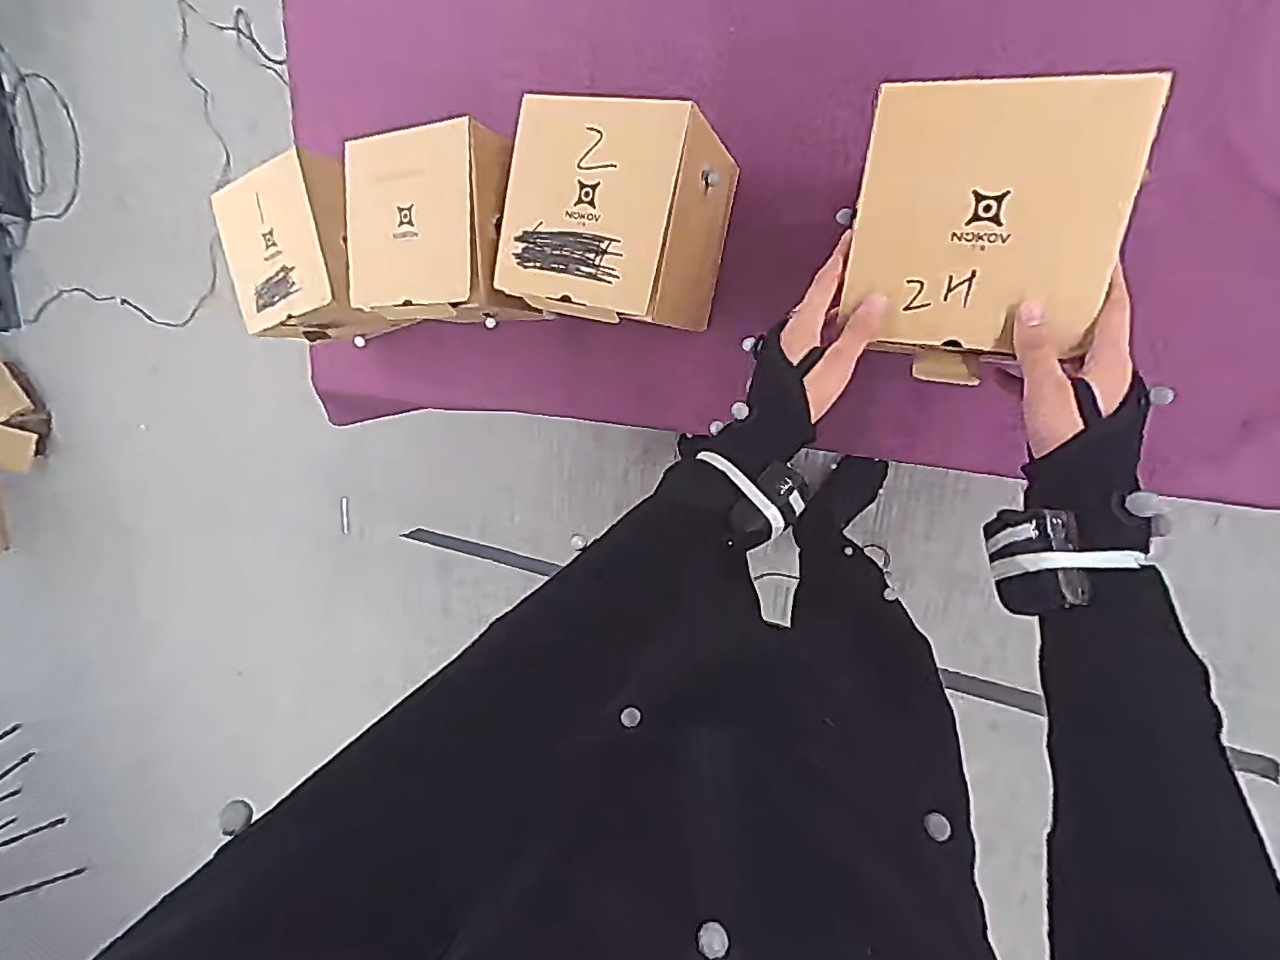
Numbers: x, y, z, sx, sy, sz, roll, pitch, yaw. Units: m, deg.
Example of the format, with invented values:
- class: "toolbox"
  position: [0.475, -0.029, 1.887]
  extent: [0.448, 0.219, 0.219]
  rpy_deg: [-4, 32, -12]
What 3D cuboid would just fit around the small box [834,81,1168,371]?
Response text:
- class: "small box"
  position: [0.261, -0.190, 0.446]
  extent: [0.168, 0.176, 0.179]
  rpy_deg: [12, 106, 18]
